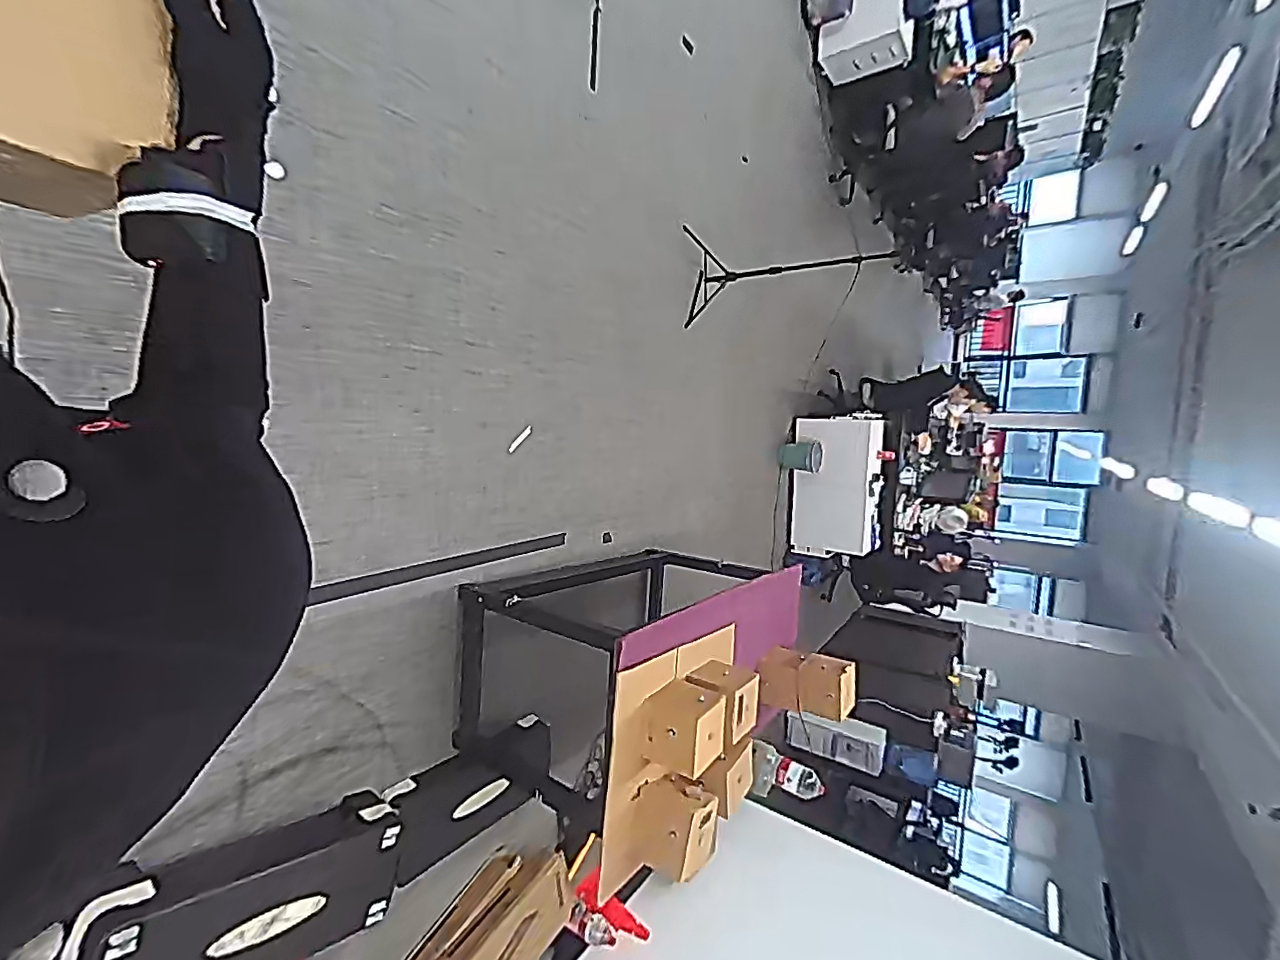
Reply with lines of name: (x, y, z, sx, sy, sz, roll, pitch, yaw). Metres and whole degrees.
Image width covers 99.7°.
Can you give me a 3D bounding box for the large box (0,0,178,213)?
large box: (-0.570, -0.392, 0.307, 0.408, 0.320, 0.320, -1, 104, -58)
